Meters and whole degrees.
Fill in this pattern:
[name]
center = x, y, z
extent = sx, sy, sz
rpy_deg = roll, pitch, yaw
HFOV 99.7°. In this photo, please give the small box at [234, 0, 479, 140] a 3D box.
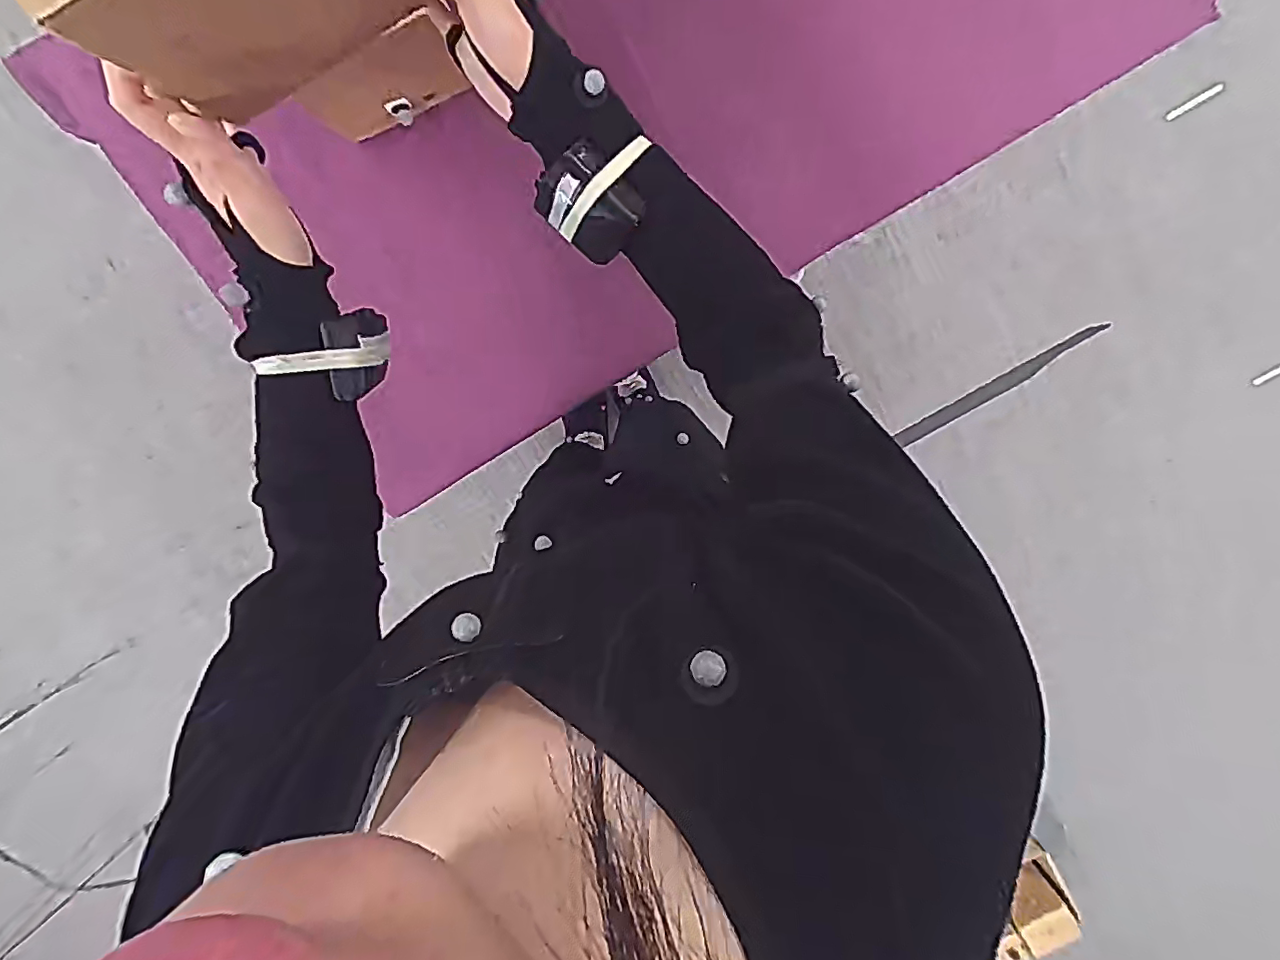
[small box]
center = -0.281, -0.475, 0.523
extent = 0.168, 0.176, 0.179
rpy_deg = -25, 107, 4
